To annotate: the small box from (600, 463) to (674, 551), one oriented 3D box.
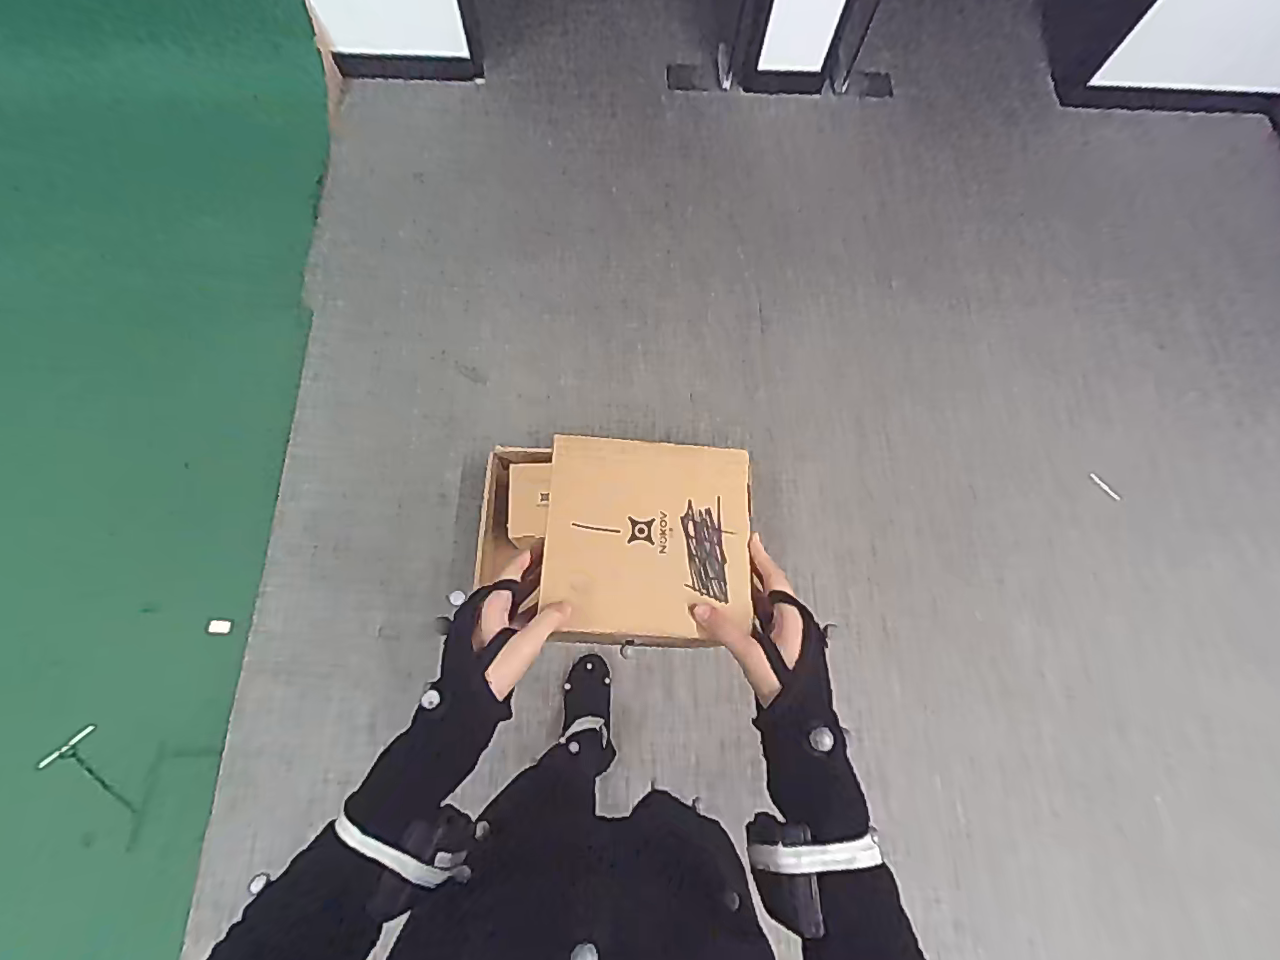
[{"bbox_3d":[-0.009,0.069,1.315,0.168,0.176,0.179,2,74,-1],"label":"small box"}]
